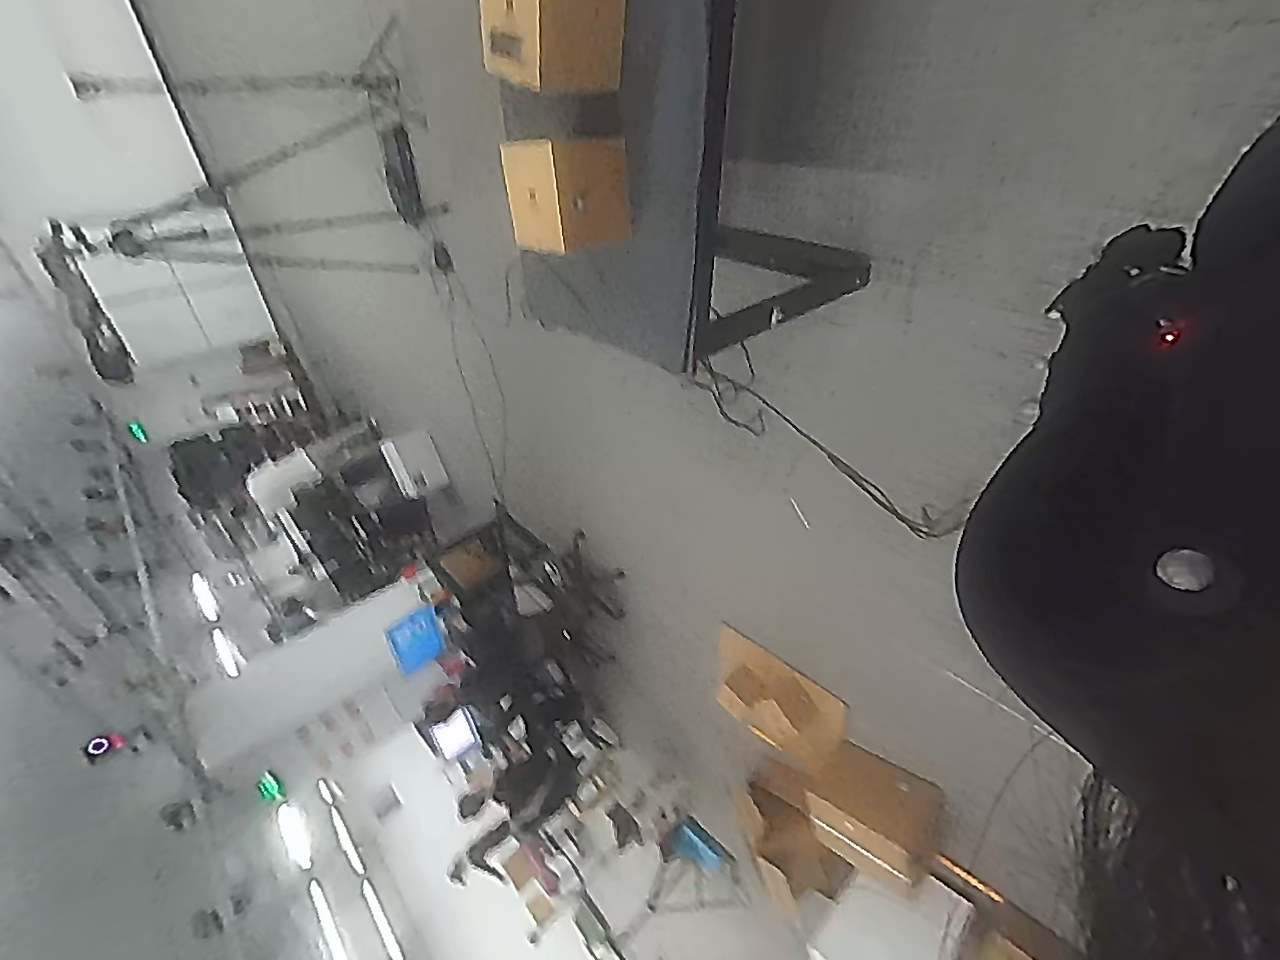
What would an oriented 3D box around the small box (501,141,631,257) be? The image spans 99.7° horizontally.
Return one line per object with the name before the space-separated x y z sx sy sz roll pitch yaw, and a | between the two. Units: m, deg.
small box | -0.133 -0.537 1.024 0.168 0.176 0.179 27 135 40
